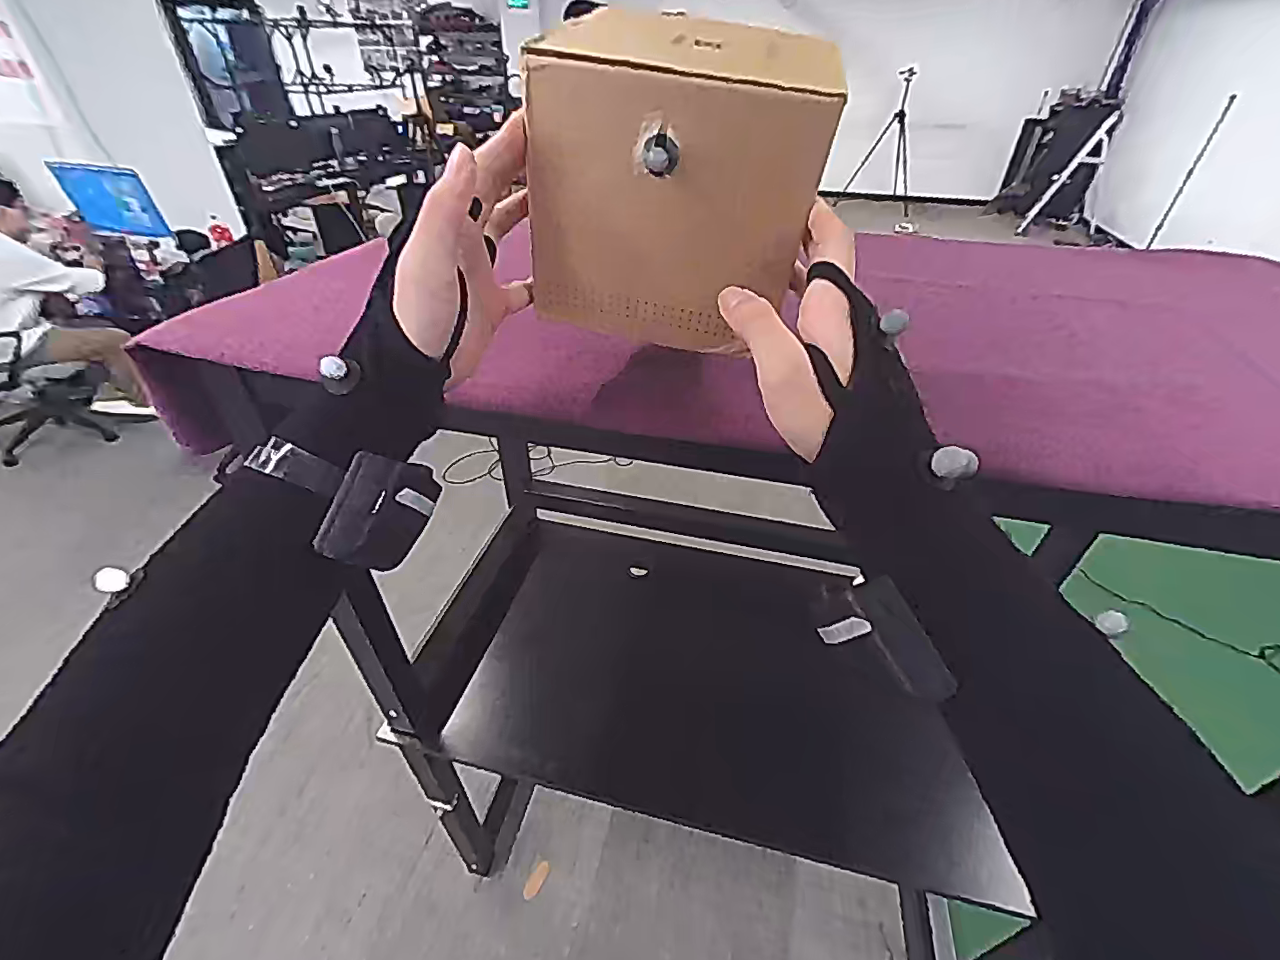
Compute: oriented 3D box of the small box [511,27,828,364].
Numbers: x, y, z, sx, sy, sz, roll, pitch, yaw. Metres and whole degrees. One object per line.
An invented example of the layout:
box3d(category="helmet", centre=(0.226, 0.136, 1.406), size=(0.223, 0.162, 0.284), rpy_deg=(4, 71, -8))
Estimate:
box3d(category="small box", centre=(0.024, -0.206, 0.396), size=(0.179, 0.176, 0.168), rpy_deg=(13, 47, 6))
